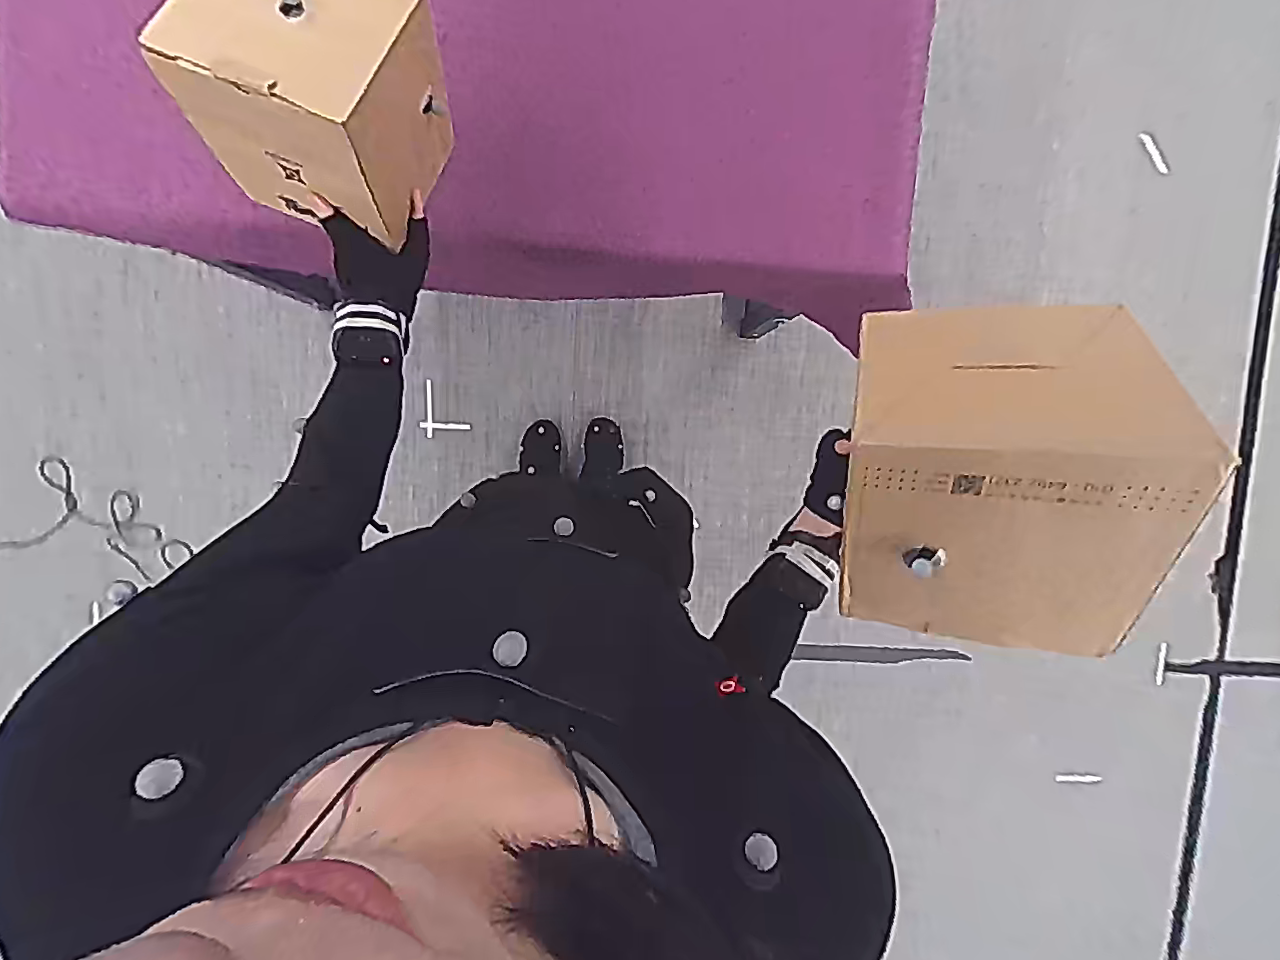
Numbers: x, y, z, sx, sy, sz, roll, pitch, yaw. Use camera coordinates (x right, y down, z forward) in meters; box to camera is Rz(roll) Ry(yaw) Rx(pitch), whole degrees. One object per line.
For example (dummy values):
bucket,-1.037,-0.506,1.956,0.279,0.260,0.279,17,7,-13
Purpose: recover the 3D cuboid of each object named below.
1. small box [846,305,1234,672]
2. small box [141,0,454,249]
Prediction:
small box,0.237,-0.005,0.371,0.168,0.179,0.176,6,132,21
small box,-0.298,-0.372,0.520,0.168,0.179,0.176,20,73,-6
